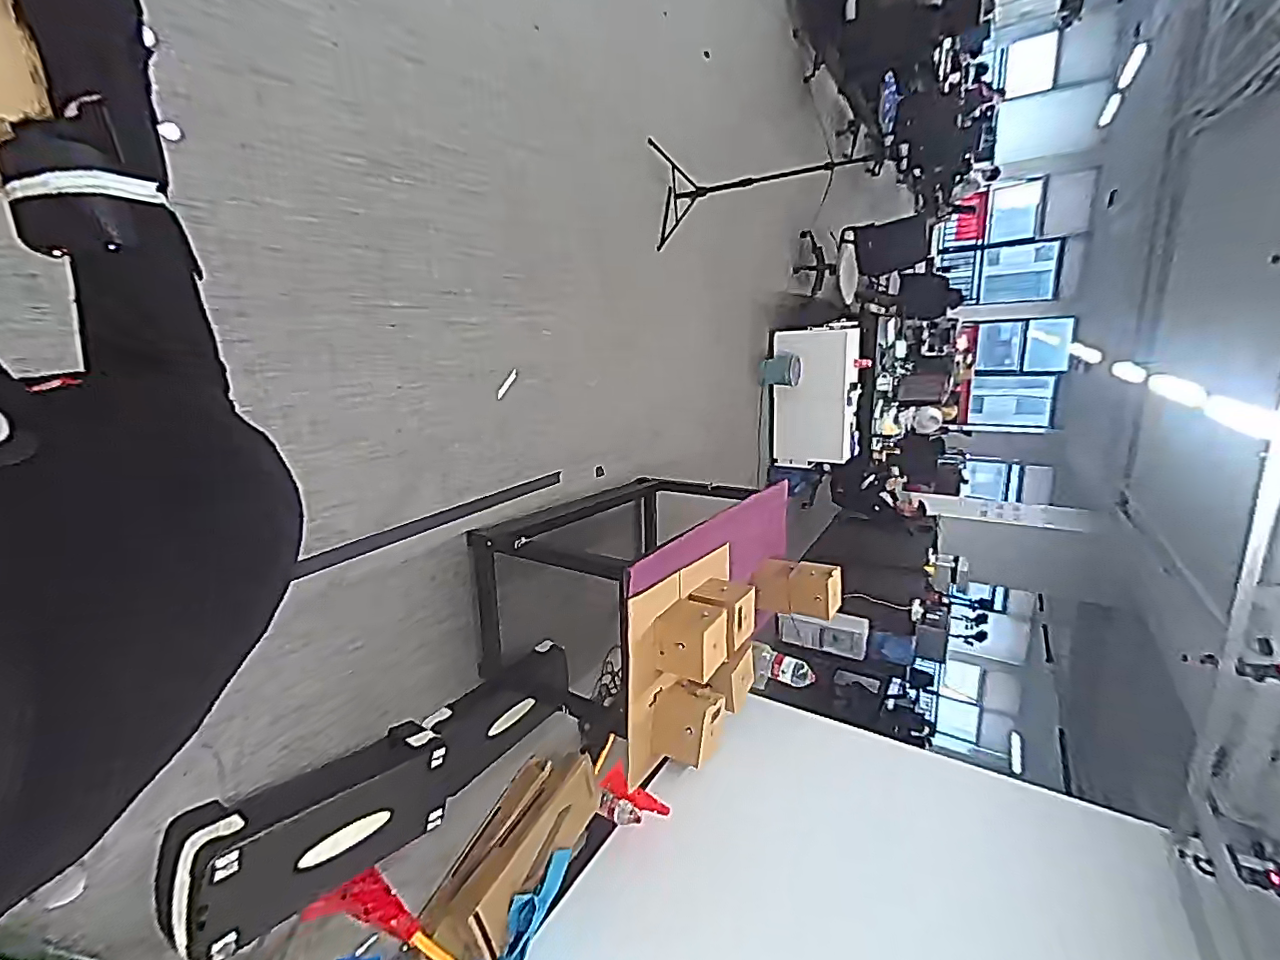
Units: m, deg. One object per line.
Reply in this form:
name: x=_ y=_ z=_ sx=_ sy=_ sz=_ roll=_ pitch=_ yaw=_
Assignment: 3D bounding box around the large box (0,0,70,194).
large box: x=-0.631 y=-0.332 z=0.247 sx=0.408 sy=0.320 sz=0.320 roll=-26 pitch=122 yaw=-56
